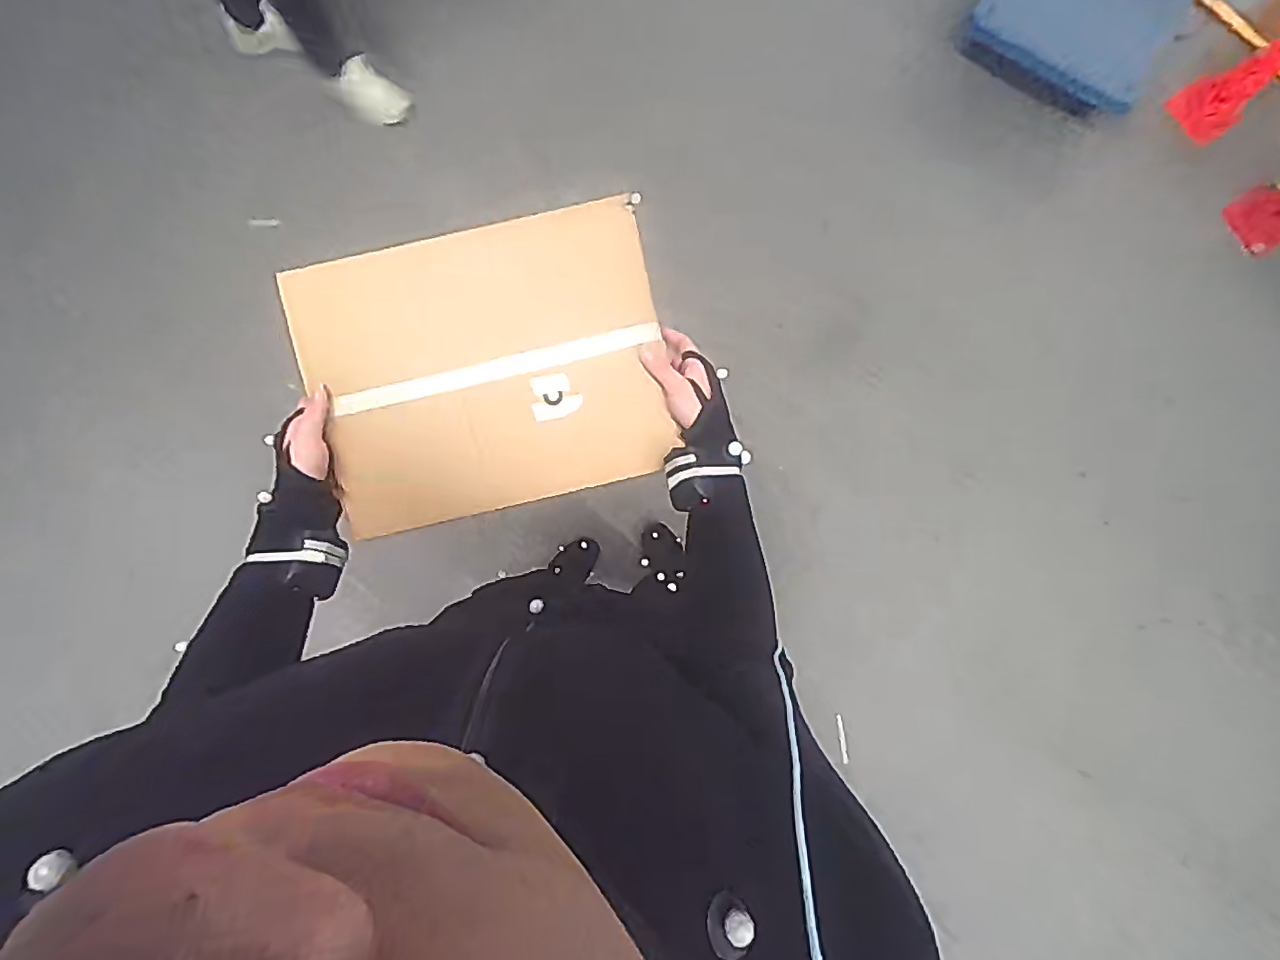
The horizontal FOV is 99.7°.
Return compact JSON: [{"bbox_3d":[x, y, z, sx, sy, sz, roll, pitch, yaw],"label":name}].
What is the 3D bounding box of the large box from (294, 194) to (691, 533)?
[{"bbox_3d":[-0.173,-0.142,0.775,0.408,0.320,0.320,-14,95,-1],"label":"large box"}]
